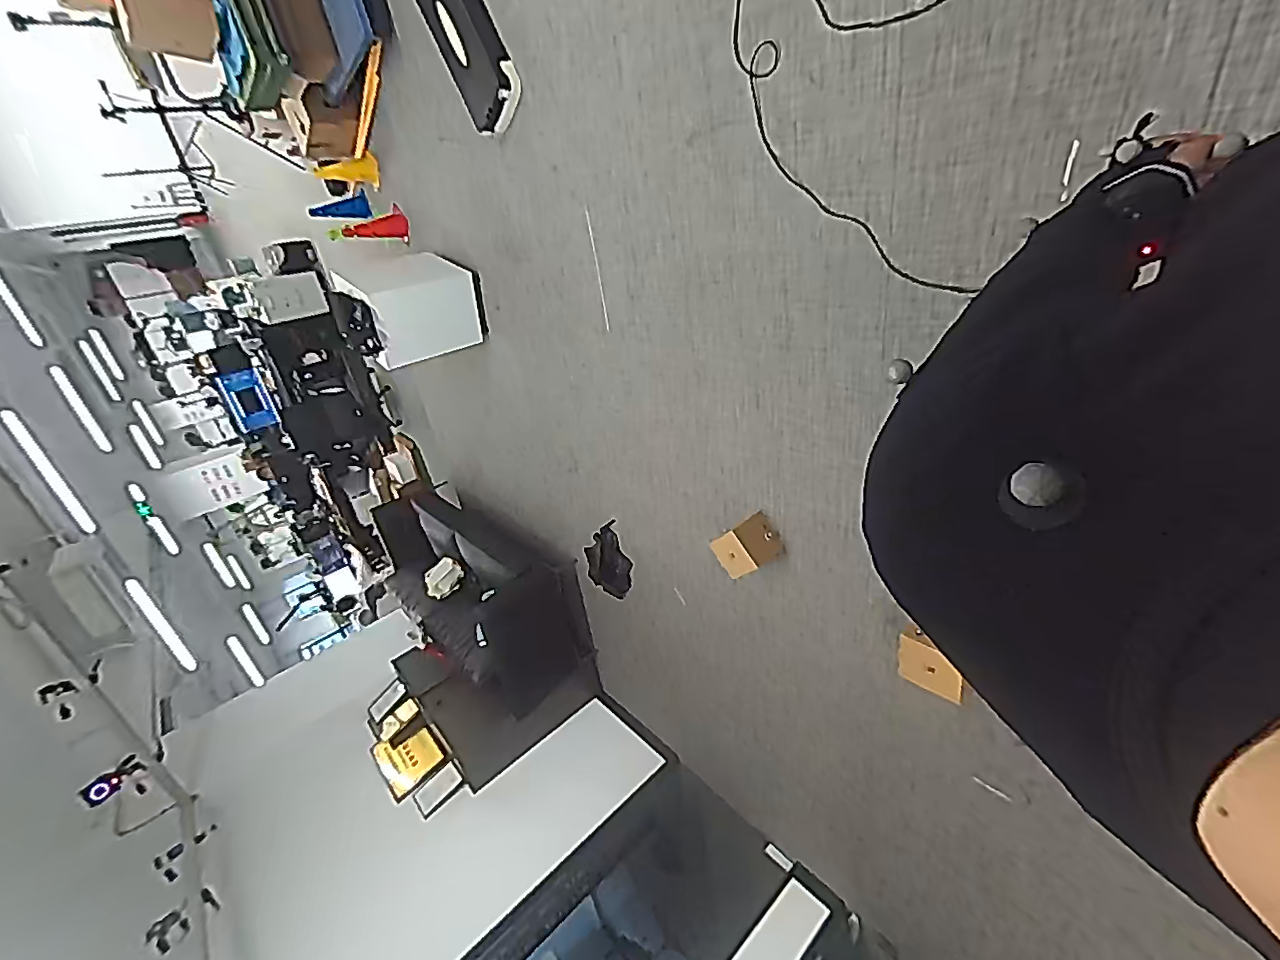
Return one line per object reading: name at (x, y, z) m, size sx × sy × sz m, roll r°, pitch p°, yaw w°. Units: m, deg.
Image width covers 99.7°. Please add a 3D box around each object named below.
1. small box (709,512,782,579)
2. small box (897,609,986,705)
small box at (0.399, 0.246, 2.040) m, size 0.168 × 0.176 × 0.179 m, roll 55°, pitch 146°, yaw 8°
small box at (0.875, 0.503, 1.570) m, size 0.179 × 0.176 × 0.168 m, roll 20°, pitch 129°, yaw 47°
